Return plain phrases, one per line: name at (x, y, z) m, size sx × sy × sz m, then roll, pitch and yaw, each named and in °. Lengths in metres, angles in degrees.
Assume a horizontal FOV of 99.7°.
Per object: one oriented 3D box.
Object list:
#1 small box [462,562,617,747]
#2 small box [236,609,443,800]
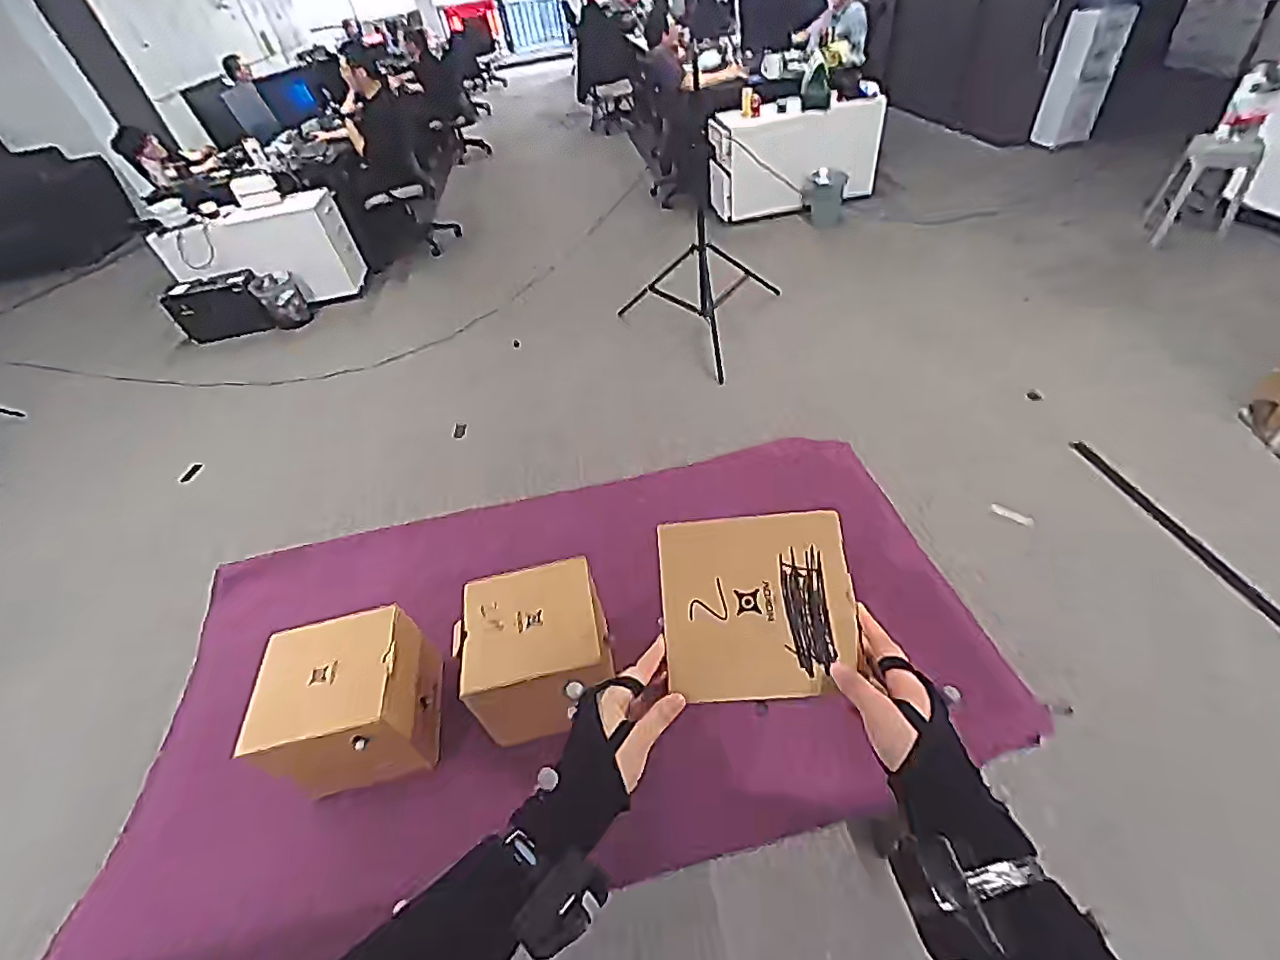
small box at (-0.132, 0.245, 0.757) m, size 0.179 × 0.176 × 0.168 m, roll -13°, pitch 43°, yaw -3°
small box at (-0.390, 0.310, 0.740) m, size 0.179 × 0.176 × 0.168 m, roll -13°, pitch 44°, yaw -5°
